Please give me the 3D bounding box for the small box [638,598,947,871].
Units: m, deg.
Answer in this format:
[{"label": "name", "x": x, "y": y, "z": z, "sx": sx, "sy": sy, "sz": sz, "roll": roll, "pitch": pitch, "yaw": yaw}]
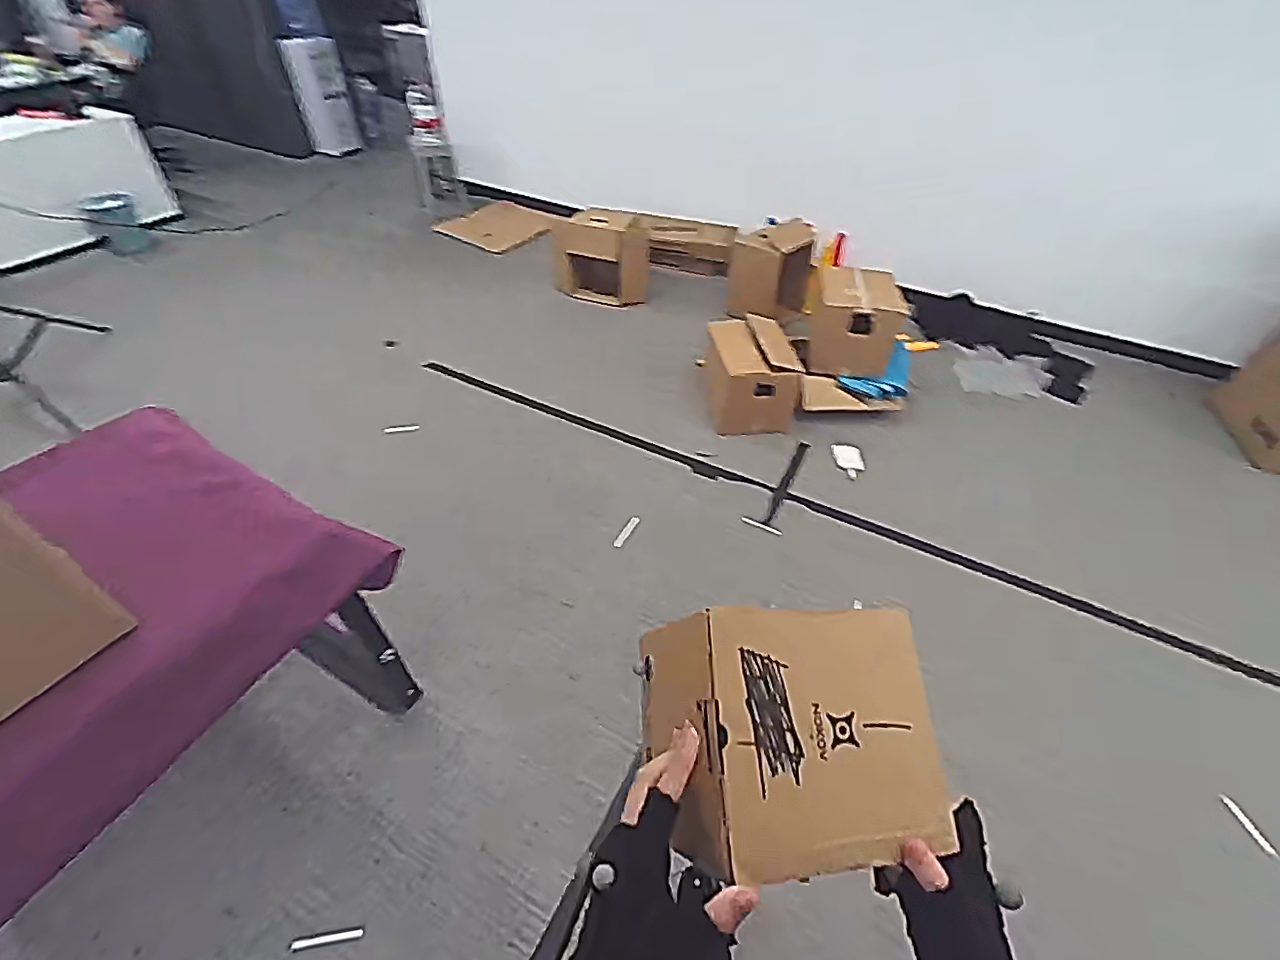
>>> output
[{"label": "small box", "x": 0.100, "y": 0.196, "z": 0.445, "sx": 0.179, "sy": 0.176, "sz": 0.168, "roll": 4, "pitch": 67, "yaw": -17}]
